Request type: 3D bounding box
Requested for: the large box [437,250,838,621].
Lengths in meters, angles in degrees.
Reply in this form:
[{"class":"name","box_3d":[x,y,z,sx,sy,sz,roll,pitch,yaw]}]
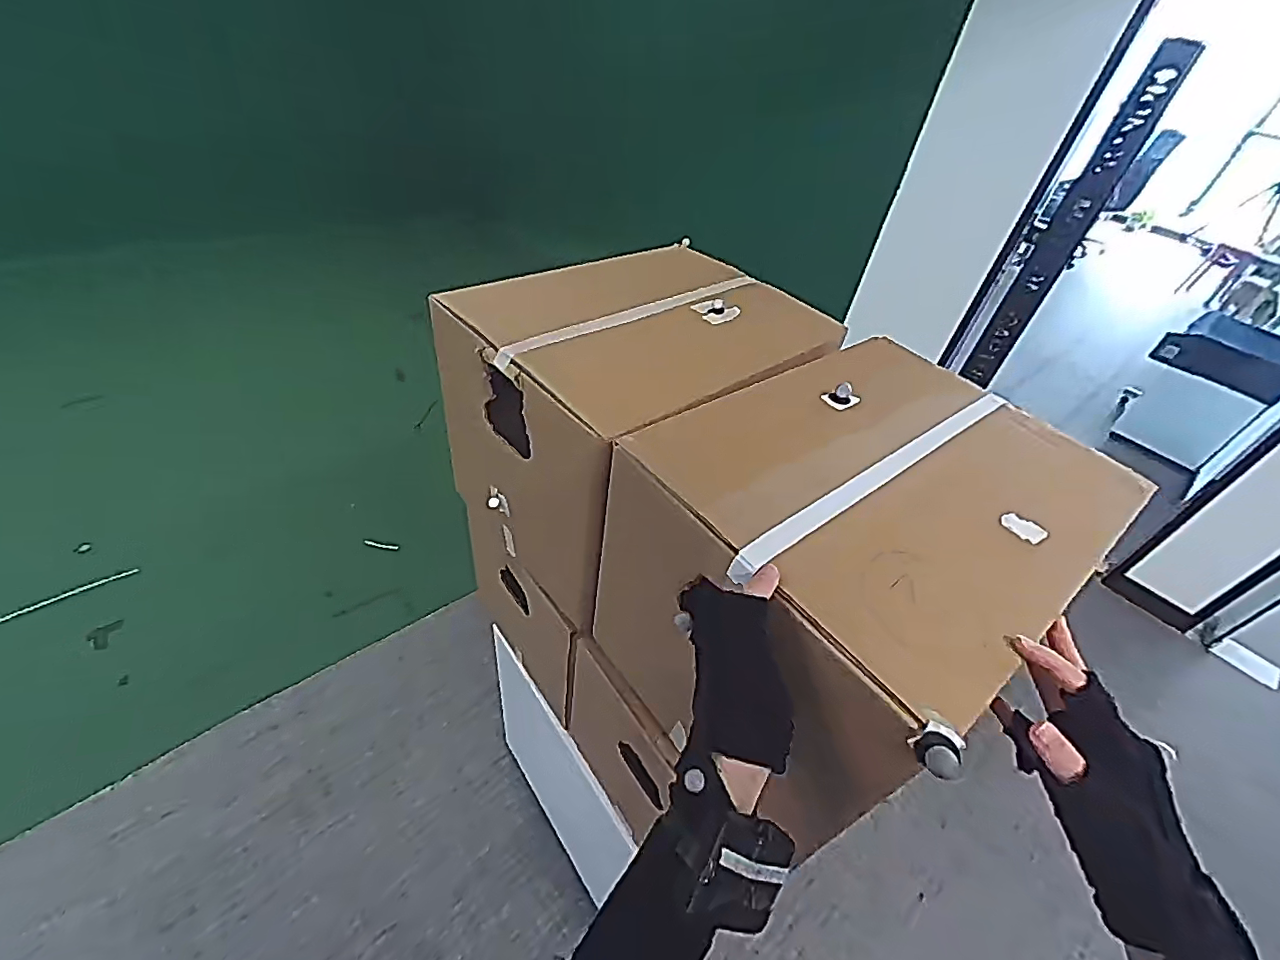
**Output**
[{"class":"large box","box_3d":[-0.008,-0.087,0.748,0.408,0.320,0.320,-27,54,-34]}]
